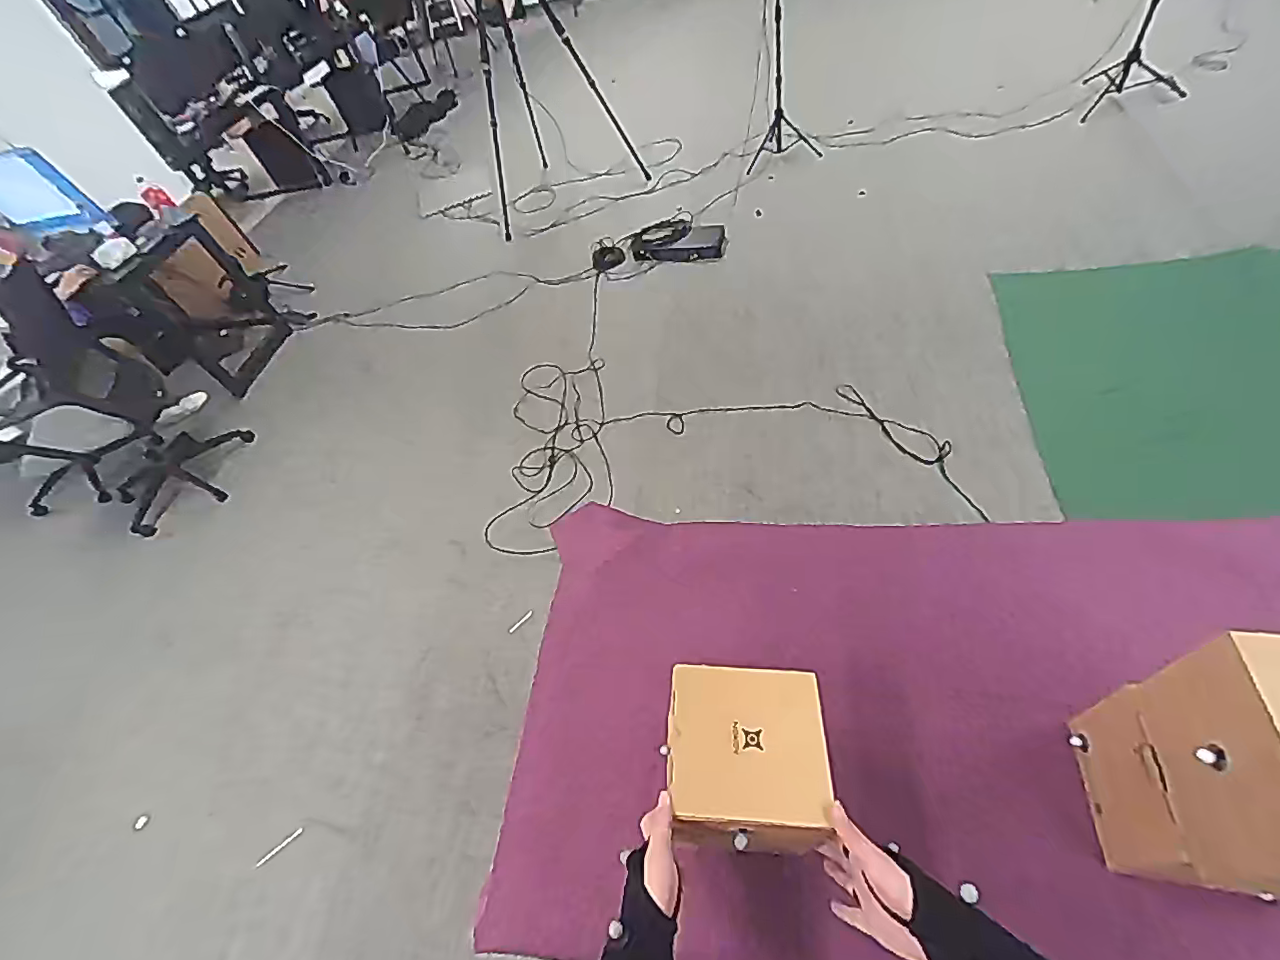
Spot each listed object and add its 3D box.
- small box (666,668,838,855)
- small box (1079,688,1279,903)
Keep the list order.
[{"bbox_3d":[0.124,0.350,0.668,0.179,0.176,0.168,2,48,4],"label":"small box"},{"bbox_3d":[0.619,0.343,0.586,0.179,0.176,0.168,1,54,15],"label":"small box"}]
